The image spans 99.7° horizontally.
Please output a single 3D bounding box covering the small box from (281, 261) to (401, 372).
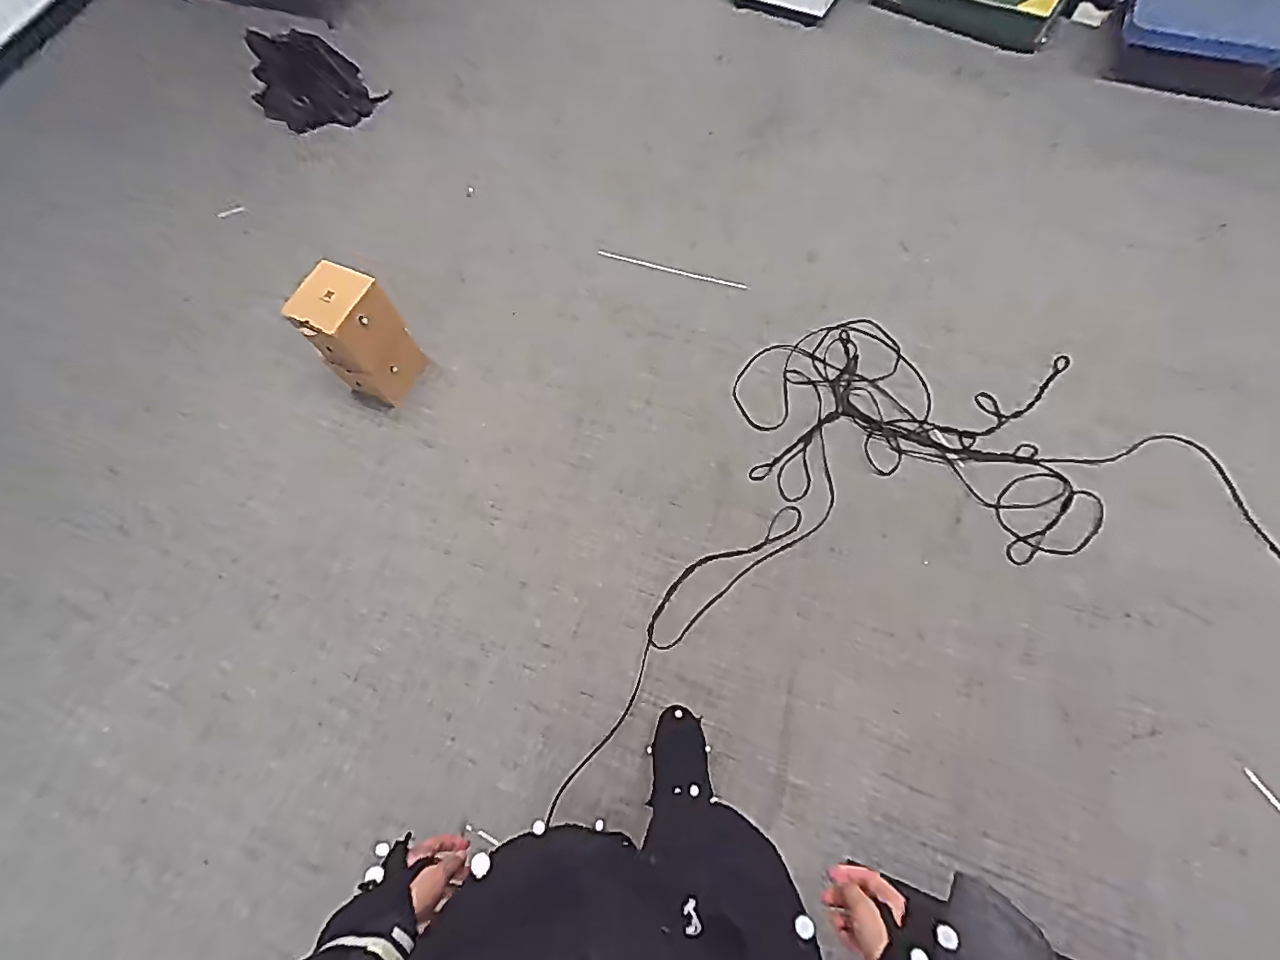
[{"bbox_3d":[-0.732,-0.404,1.353,0.168,0.176,0.179,23,73,12],"label":"small box"}]

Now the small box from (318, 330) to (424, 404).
[{"bbox_3d":[-0.736,-0.338,1.503,0.168,0.176,0.179,23,73,13],"label":"small box"}]
